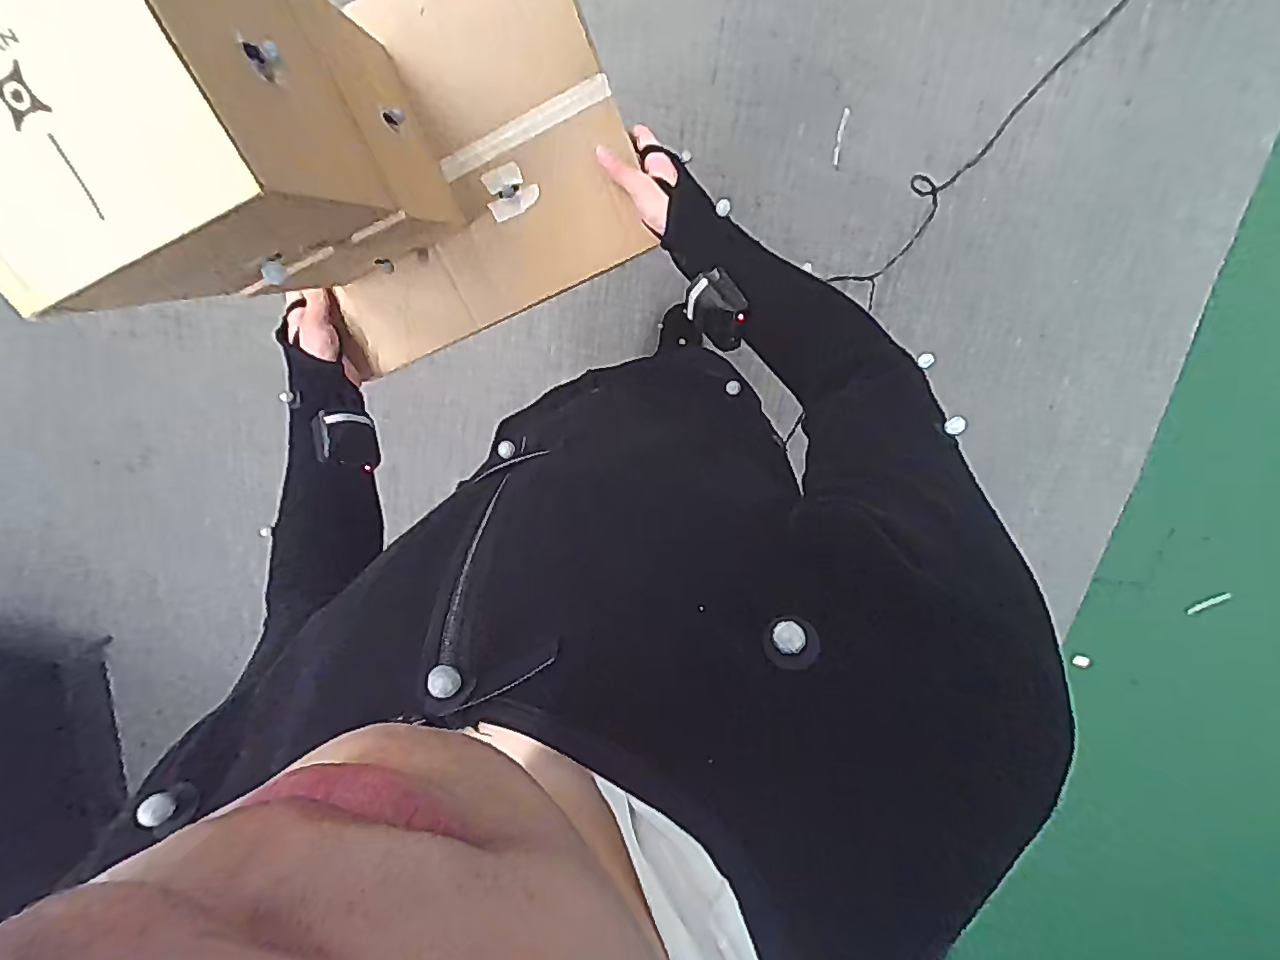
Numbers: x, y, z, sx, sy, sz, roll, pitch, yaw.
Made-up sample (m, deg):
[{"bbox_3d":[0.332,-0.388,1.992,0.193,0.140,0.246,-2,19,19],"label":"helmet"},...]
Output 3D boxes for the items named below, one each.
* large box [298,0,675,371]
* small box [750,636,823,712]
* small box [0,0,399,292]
[{"bbox_3d":[-0.203,-0.387,0.704,0.408,0.320,0.320,-22,112,8],"label":"large box"},{"bbox_3d":[0.439,0.611,1.647,0.168,0.176,0.179,15,106,5],"label":"small box"},{"bbox_3d":[-0.286,-0.231,0.325,0.168,0.176,0.179,-20,112,9],"label":"small box"}]
